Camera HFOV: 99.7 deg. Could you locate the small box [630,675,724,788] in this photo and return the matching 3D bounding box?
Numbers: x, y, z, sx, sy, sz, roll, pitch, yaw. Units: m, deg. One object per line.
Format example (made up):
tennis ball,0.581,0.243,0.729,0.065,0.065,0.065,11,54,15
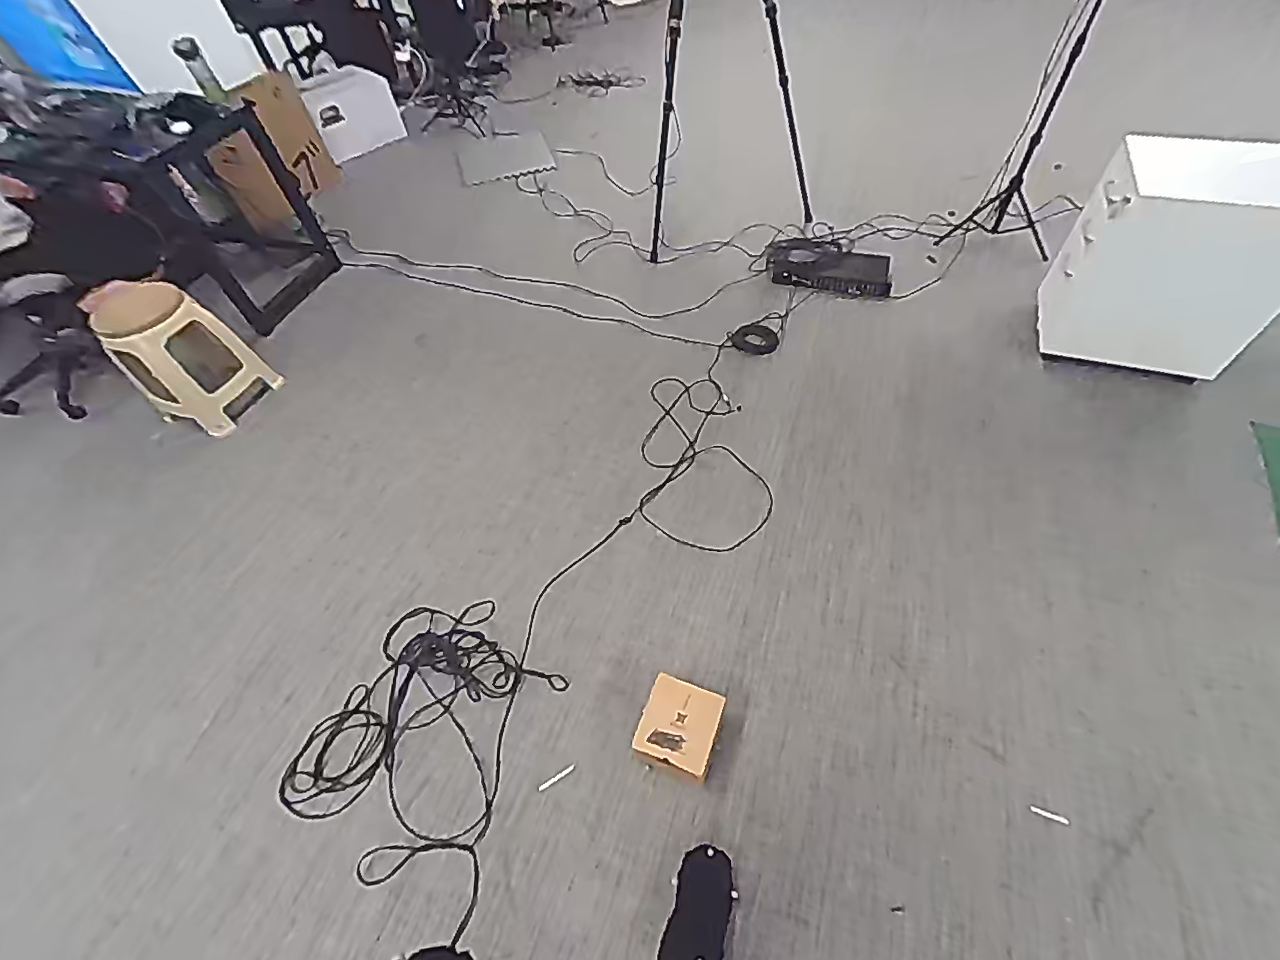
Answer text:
small box,0.092,0.591,1.261,0.168,0.176,0.179,15,56,17
